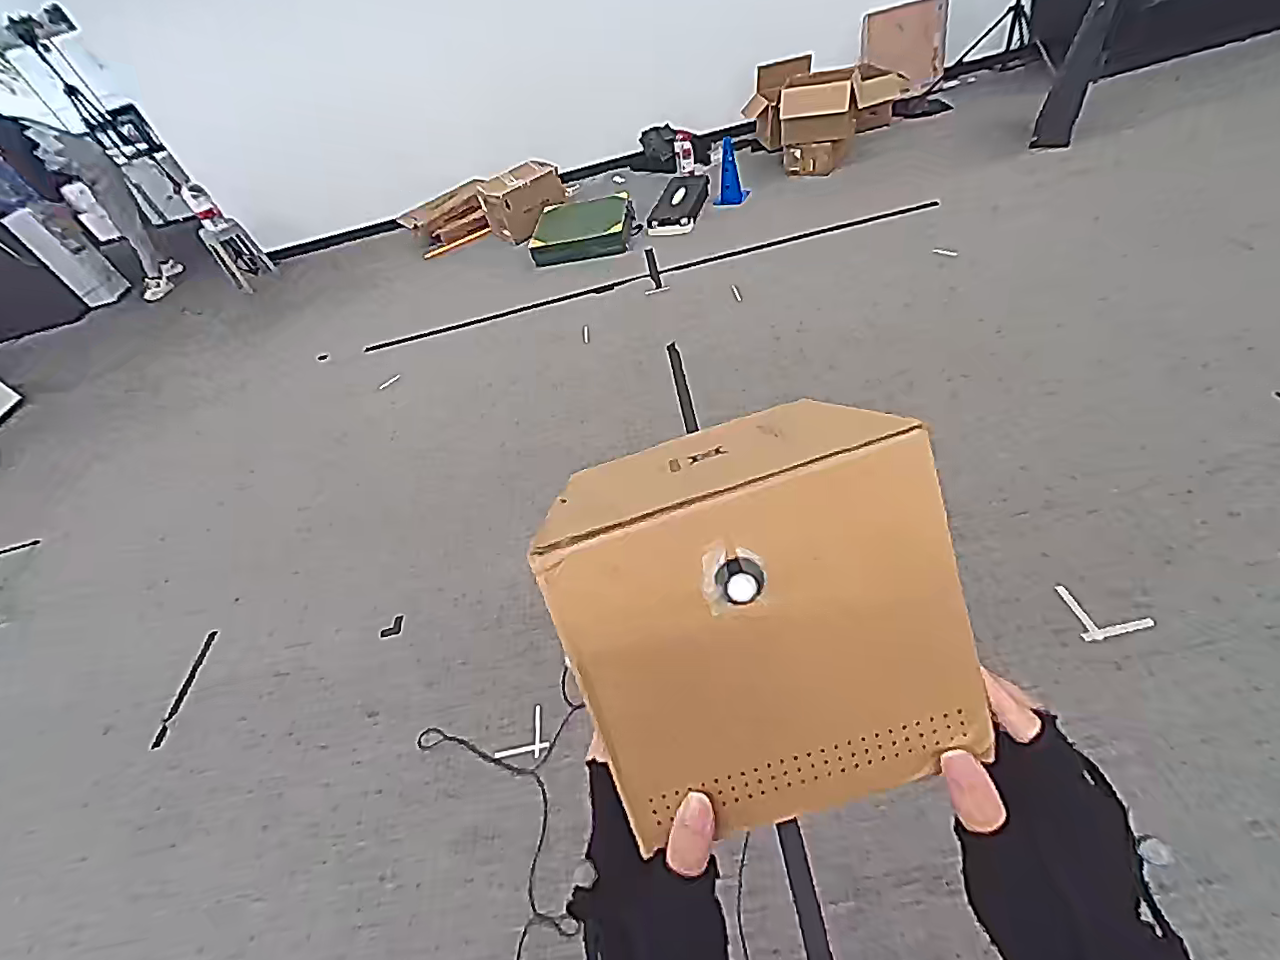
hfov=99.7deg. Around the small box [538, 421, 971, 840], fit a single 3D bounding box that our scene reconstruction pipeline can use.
[{"bbox_3d":[0.062,0.076,0.332,0.179,0.176,0.168,-18,11,4],"label":"small box"}]
